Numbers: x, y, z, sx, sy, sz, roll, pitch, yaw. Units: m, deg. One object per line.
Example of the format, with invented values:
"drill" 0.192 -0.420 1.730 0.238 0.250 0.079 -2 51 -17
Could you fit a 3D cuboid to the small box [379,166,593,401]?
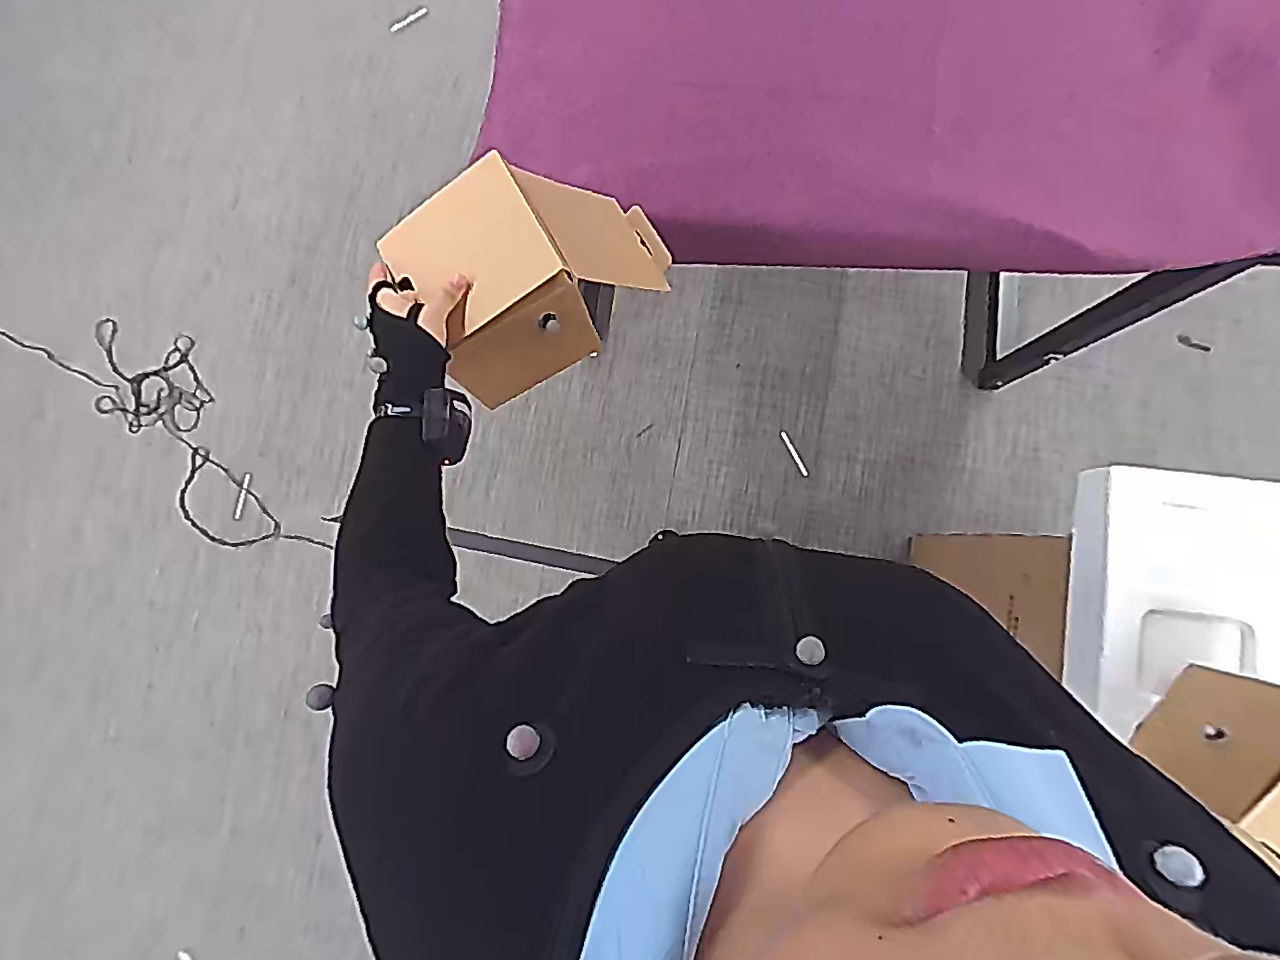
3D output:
"small box" -0.171 -0.225 0.661 0.179 0.176 0.168 -29 76 1
